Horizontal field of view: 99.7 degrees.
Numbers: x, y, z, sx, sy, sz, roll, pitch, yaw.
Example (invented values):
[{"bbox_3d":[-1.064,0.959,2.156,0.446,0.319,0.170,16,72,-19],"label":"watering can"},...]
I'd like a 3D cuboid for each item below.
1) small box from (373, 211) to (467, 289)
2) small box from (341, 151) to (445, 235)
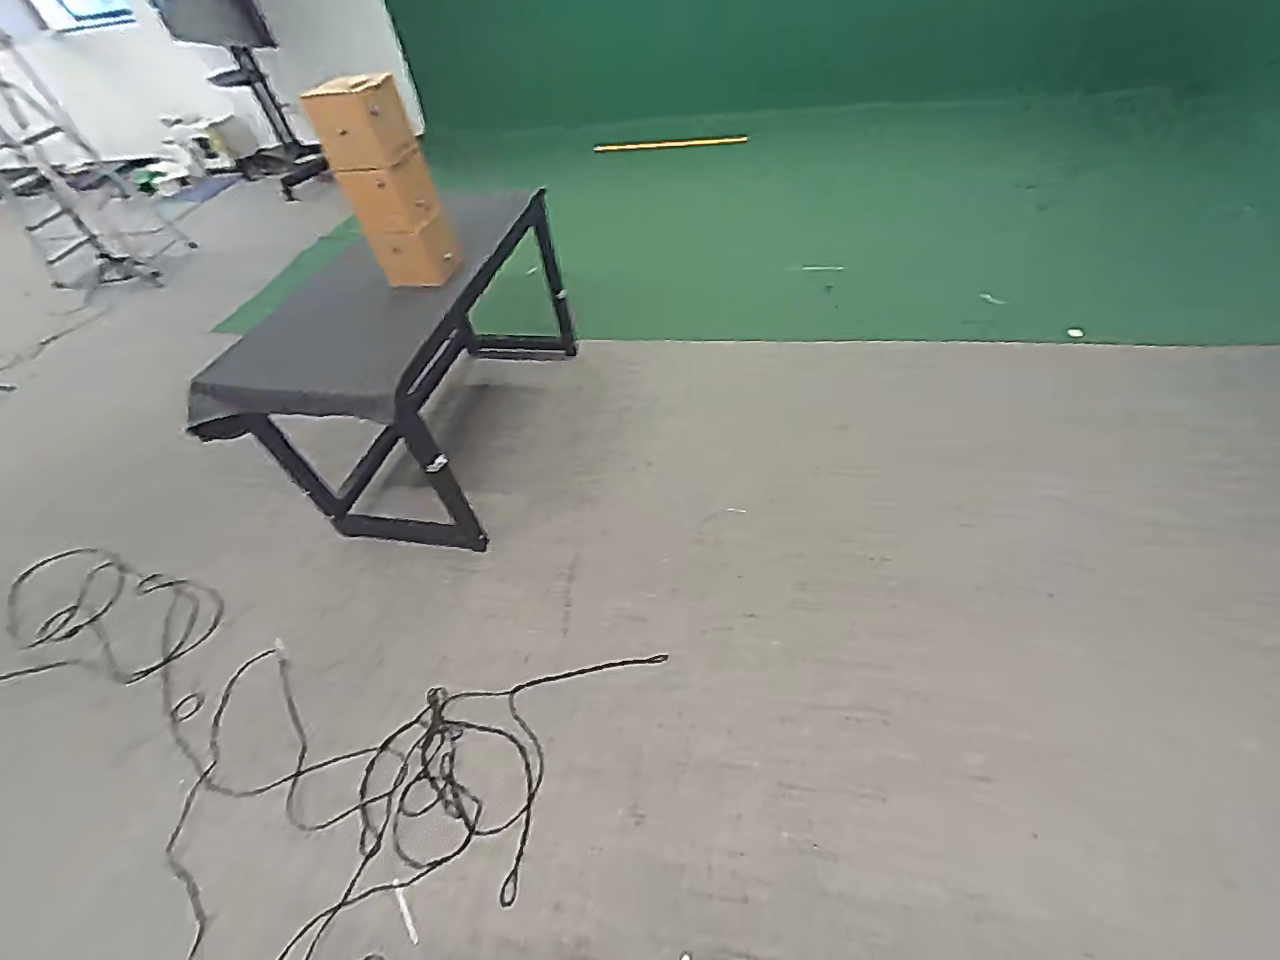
[{"bbox_3d":[-0.662,-0.700,1.649,0.179,0.176,0.168,5,50,13],"label":"small box"},{"bbox_3d":[-0.690,-0.810,1.533,0.179,0.176,0.168,5,49,14],"label":"small box"}]
